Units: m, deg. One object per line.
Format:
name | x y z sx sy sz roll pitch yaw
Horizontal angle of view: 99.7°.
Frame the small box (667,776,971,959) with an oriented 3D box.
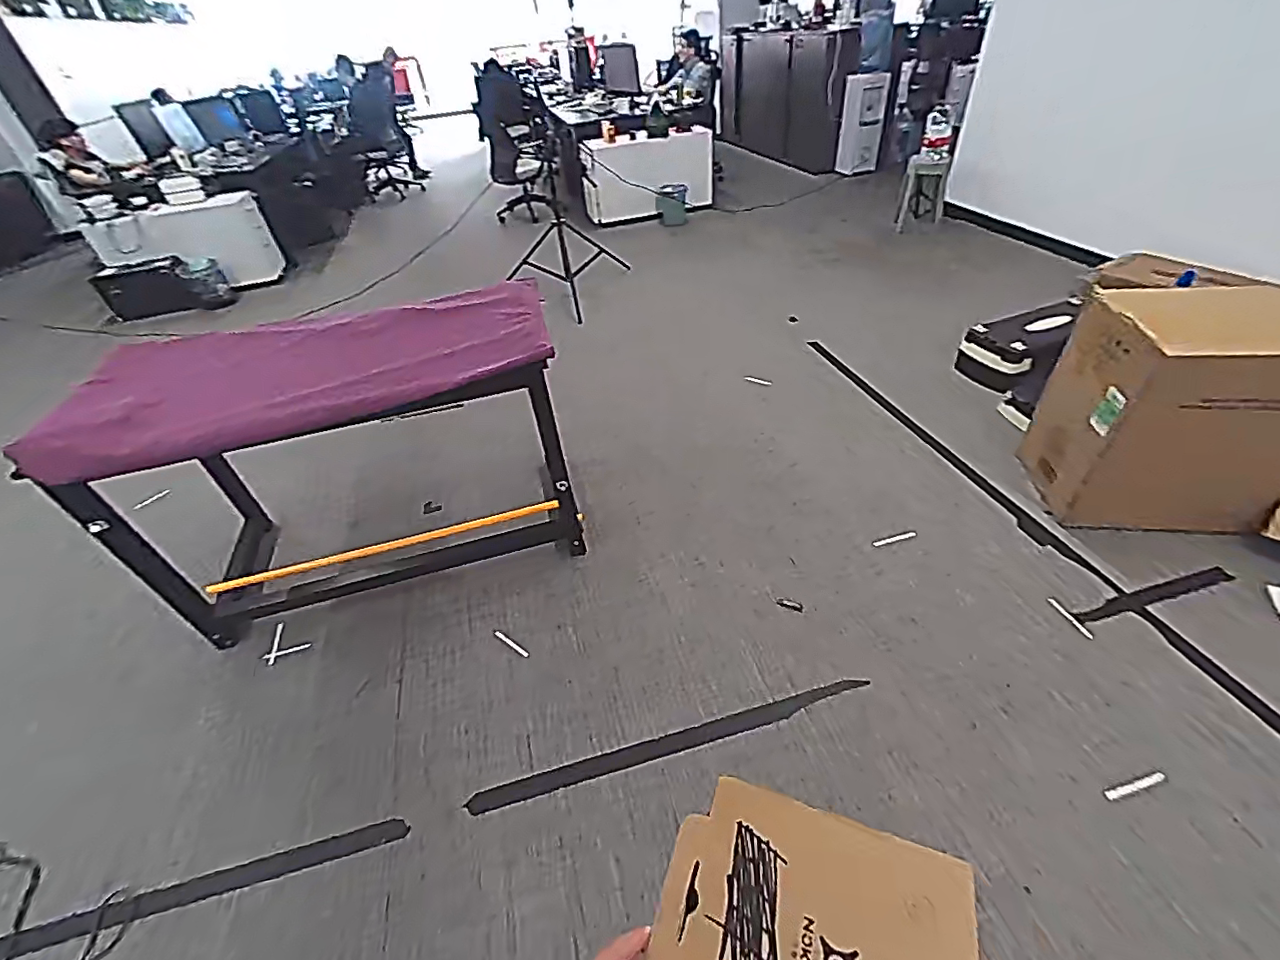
small box | 0.117 0.352 0.388 0.179 0.176 0.168 11 46 17
